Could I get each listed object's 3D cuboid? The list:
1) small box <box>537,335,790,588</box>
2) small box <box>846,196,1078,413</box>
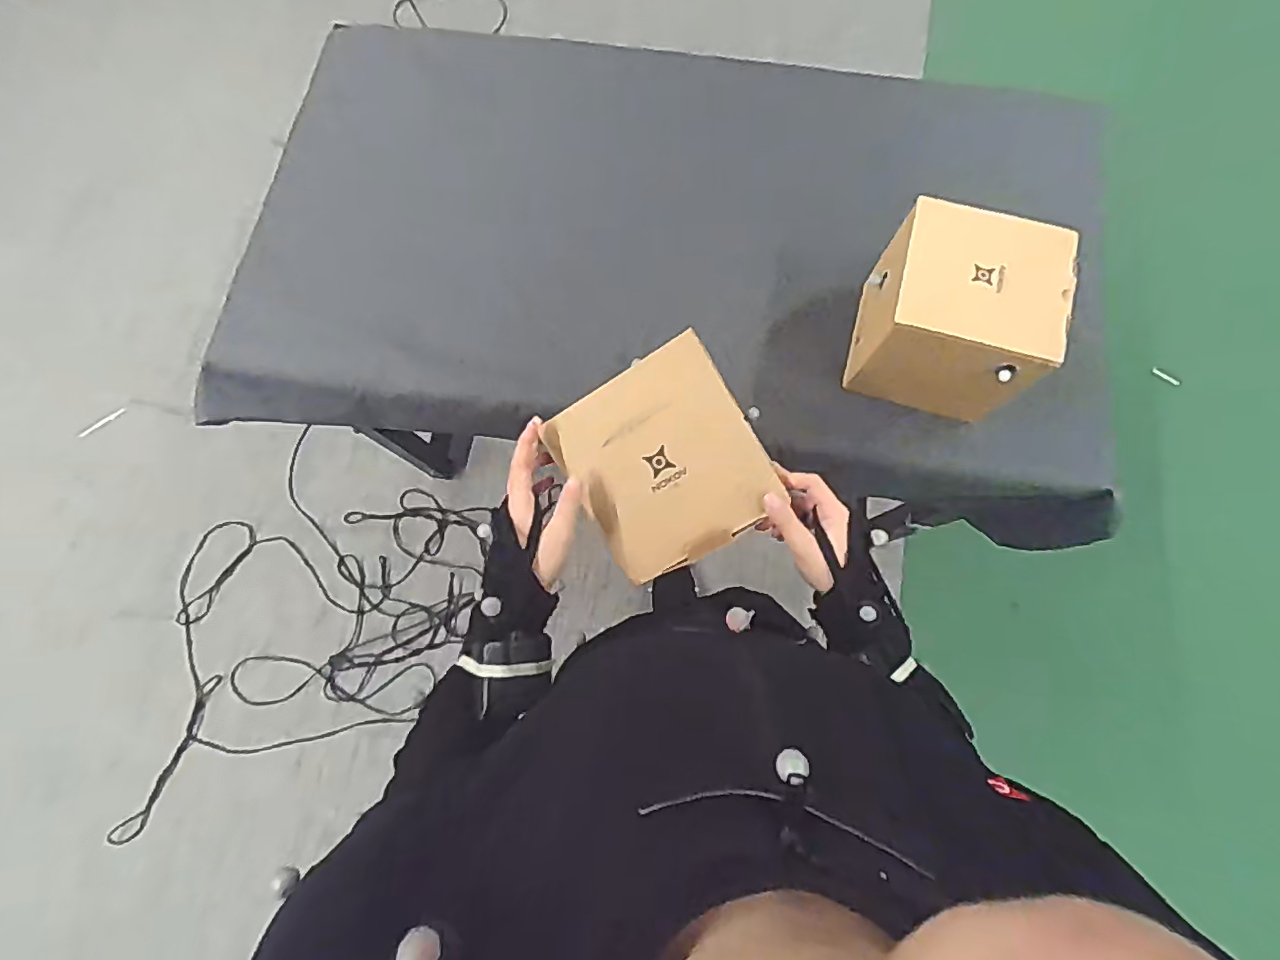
[{"bbox_3d":[0.031,-0.026,0.549,0.168,0.176,0.179,-31,94,13],"label":"small box"},{"bbox_3d":[0.370,-0.197,0.649,0.179,0.176,0.168,16,76,5],"label":"small box"}]
